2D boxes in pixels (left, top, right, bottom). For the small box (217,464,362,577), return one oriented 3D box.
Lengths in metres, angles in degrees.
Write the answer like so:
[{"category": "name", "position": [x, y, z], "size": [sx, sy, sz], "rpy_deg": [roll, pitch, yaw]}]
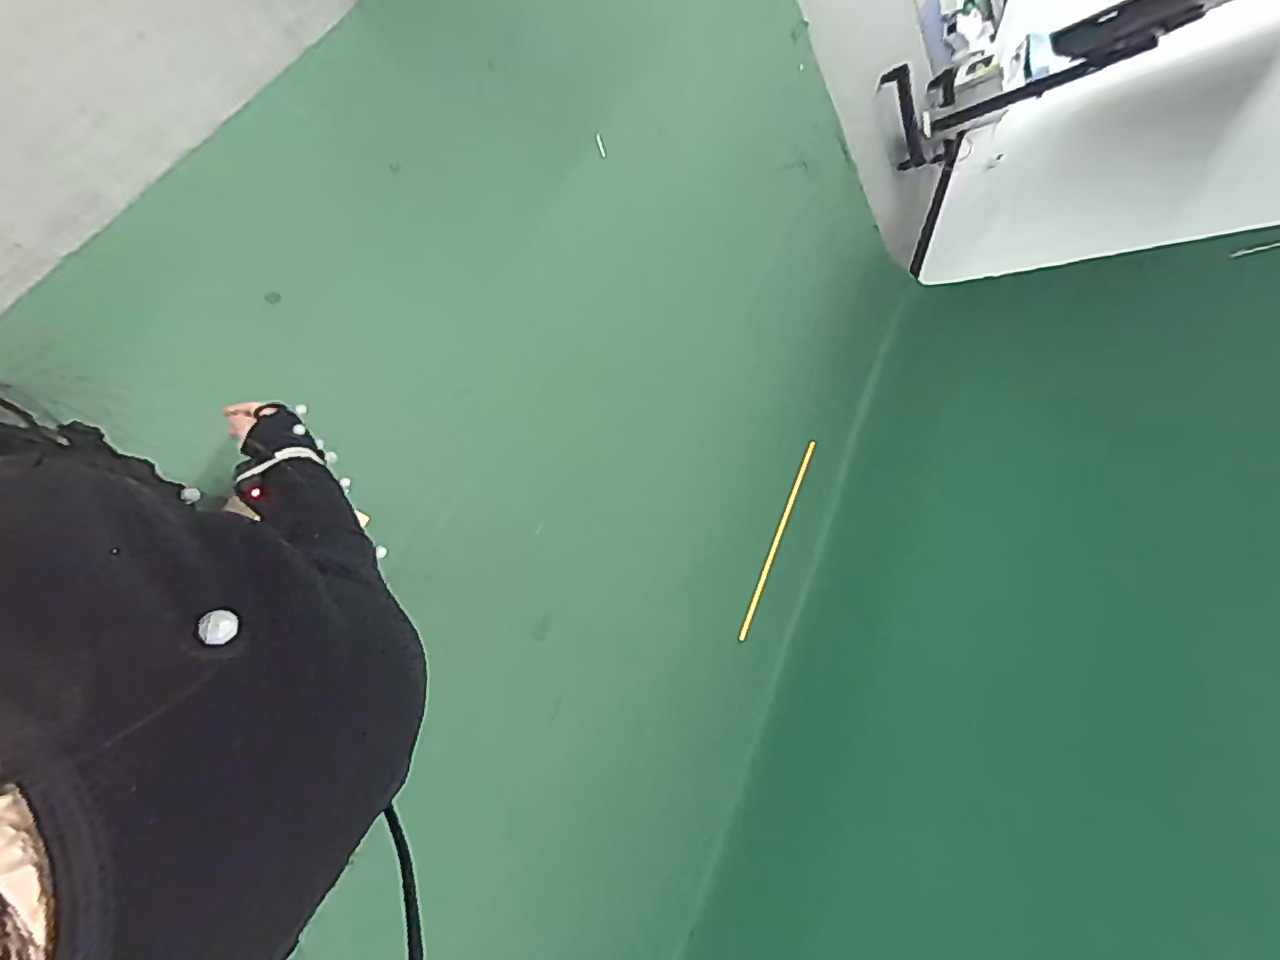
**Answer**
[{"category": "small box", "position": [-0.733, 0.077, 1.131], "size": [0.179, 0.176, 0.168], "rpy_deg": [45, 64, -39]}]
